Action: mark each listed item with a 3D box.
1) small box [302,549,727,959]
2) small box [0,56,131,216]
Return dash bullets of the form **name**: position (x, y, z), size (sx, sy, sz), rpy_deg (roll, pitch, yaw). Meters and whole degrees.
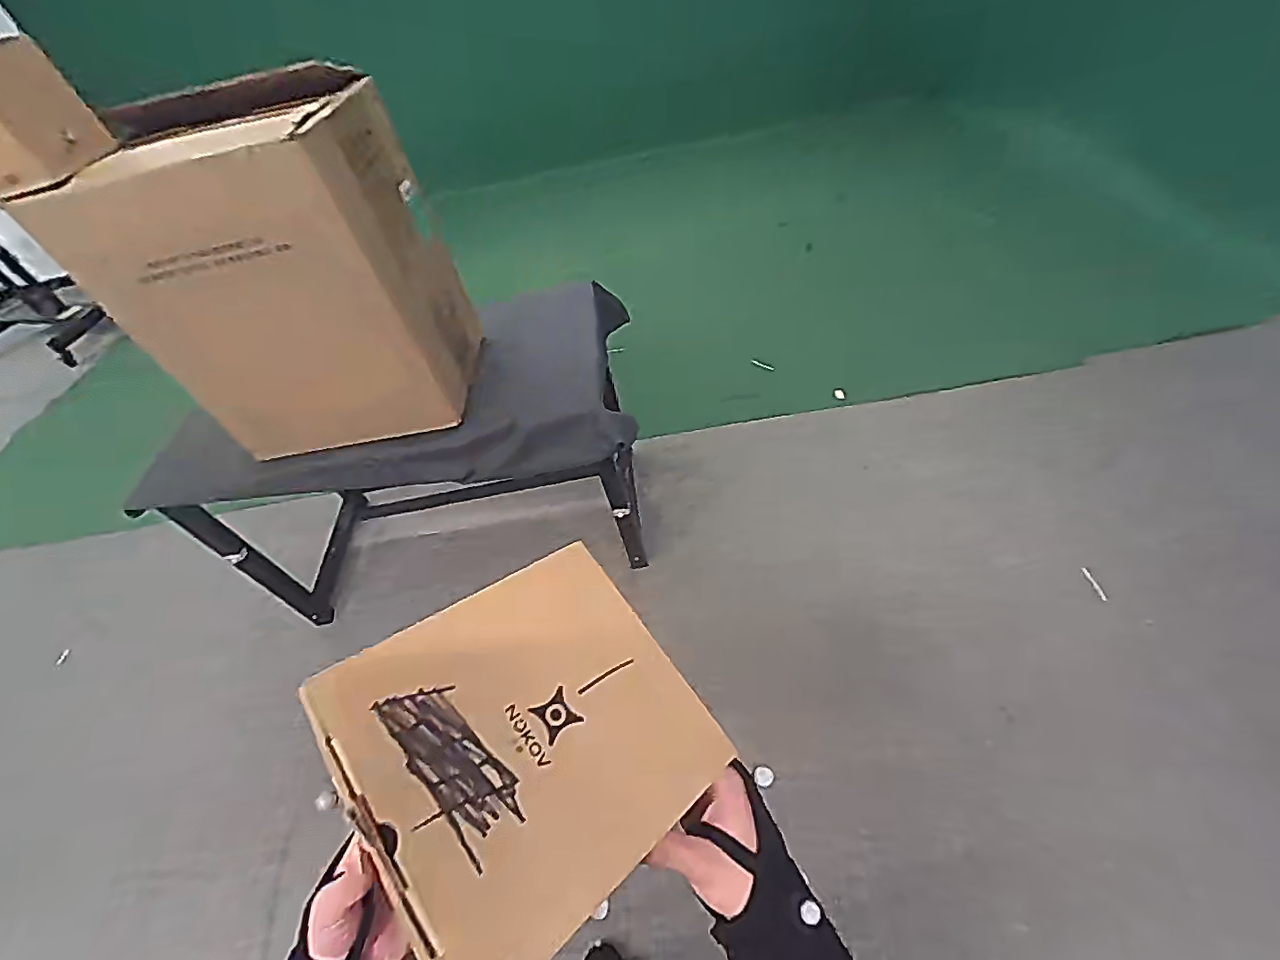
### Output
- **small box**: position (-0.083, 0.182, 0.351), size (0.179, 0.176, 0.168), rpy_deg (-26, 66, -38)
- **small box**: position (-1.019, -0.567, 0.898), size (0.168, 0.176, 0.179), rpy_deg (-10, 47, 9)
